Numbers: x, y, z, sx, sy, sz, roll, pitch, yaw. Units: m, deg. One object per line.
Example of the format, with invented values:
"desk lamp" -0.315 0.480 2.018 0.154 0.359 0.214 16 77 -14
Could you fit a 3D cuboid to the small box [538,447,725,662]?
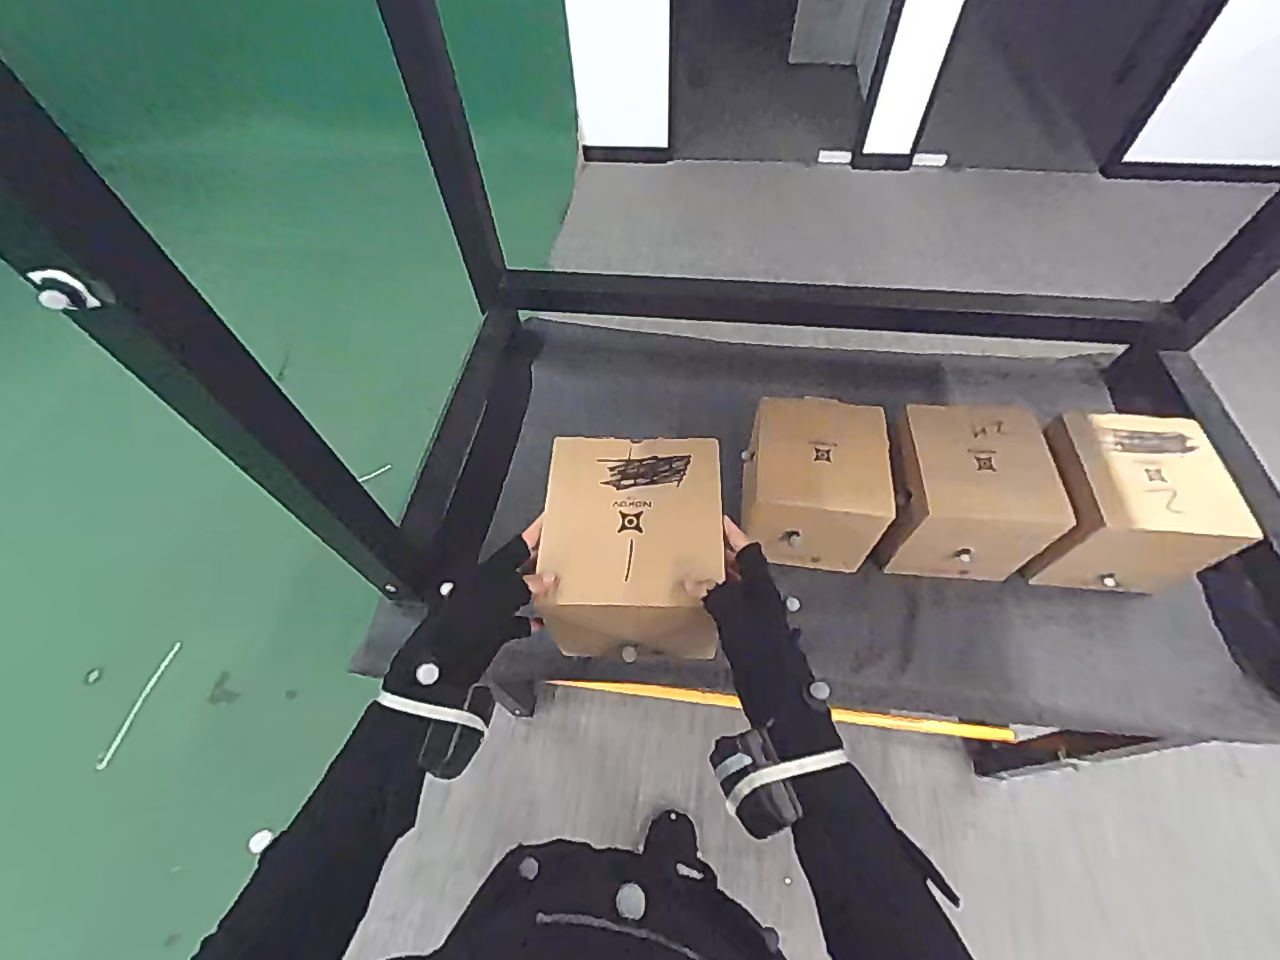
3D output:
"small box" -0.003 0.083 0.577 0.168 0.176 0.179 -1 58 3
